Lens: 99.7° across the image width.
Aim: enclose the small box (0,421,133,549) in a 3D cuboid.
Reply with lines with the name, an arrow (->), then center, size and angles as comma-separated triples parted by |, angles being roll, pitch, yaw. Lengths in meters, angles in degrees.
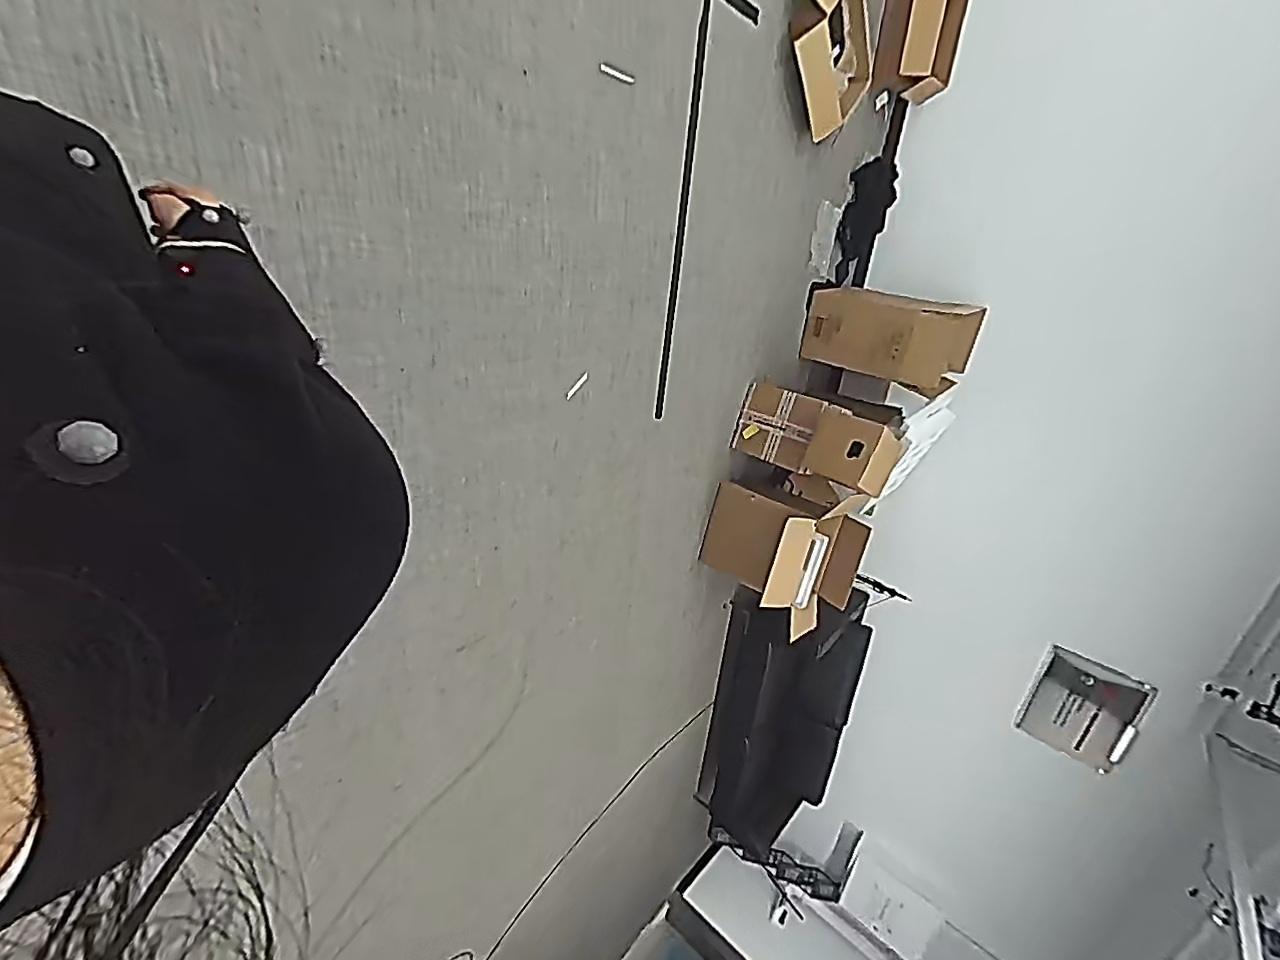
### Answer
small box -> -1.102, -0.002, 1.014 | 0.168, 0.176, 0.179 | -23, 126, -43
